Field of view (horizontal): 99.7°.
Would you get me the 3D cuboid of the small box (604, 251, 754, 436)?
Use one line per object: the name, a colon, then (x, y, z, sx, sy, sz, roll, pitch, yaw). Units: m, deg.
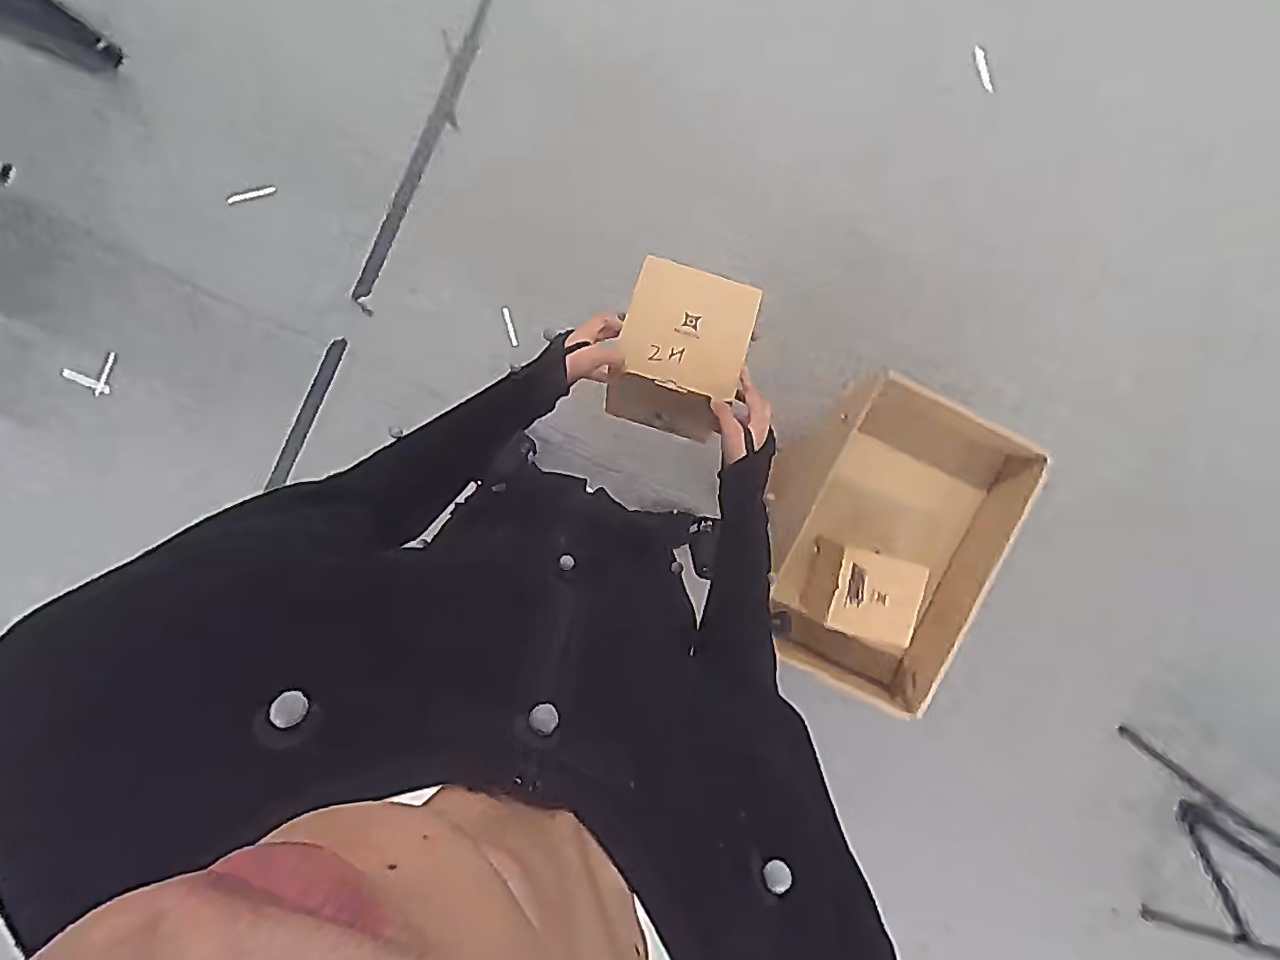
small box: (0.047, -0.186, 0.780, 0.168, 0.176, 0.179, 16, 76, 0)
